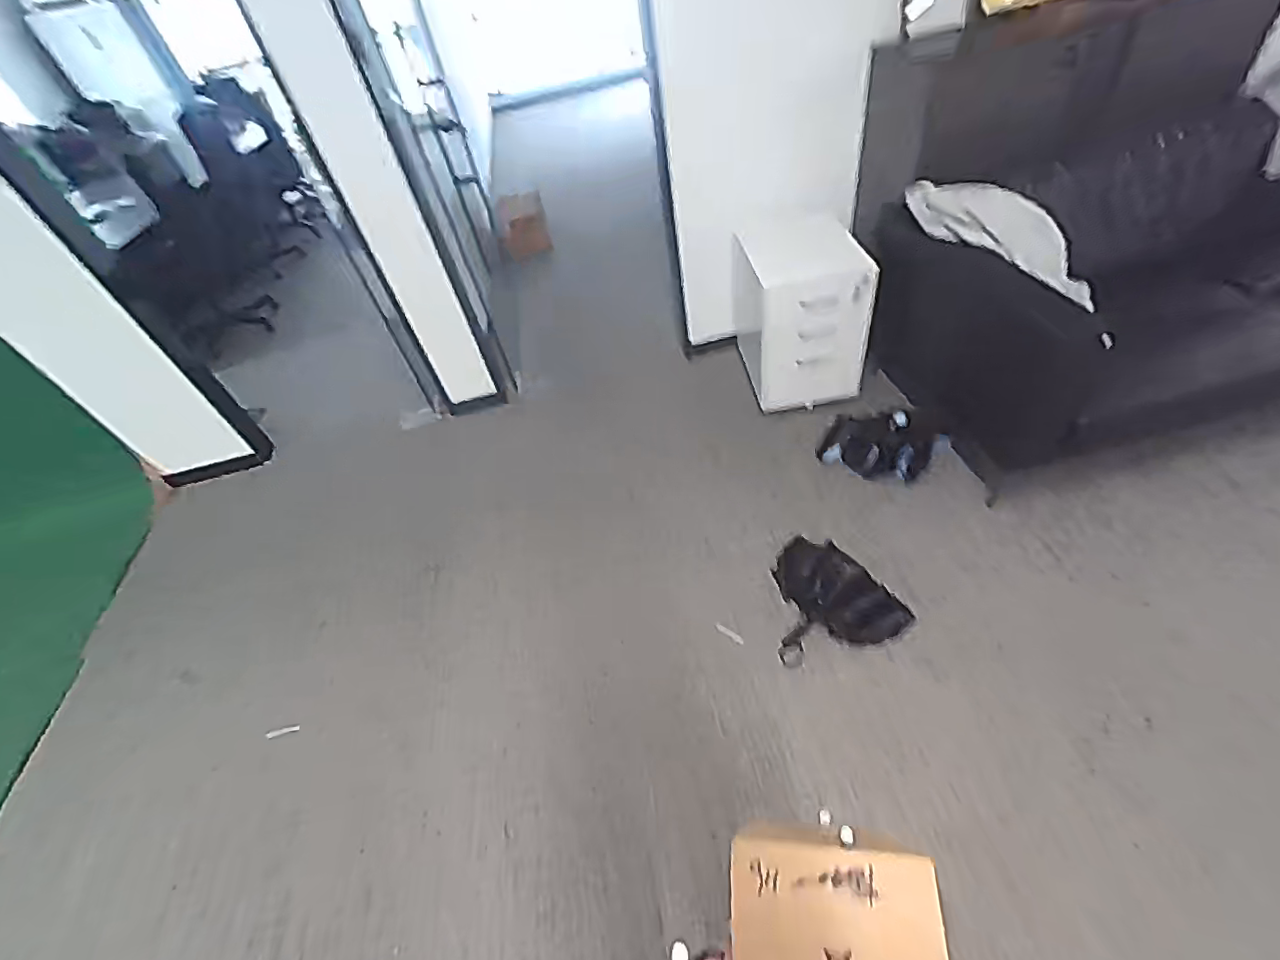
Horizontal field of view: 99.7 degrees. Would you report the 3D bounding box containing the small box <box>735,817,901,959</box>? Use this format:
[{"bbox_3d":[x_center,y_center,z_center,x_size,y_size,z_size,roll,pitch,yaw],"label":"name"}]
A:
[{"bbox_3d":[0.204,0.506,0.637,0.168,0.176,0.179,-5,58,13],"label":"small box"}]
